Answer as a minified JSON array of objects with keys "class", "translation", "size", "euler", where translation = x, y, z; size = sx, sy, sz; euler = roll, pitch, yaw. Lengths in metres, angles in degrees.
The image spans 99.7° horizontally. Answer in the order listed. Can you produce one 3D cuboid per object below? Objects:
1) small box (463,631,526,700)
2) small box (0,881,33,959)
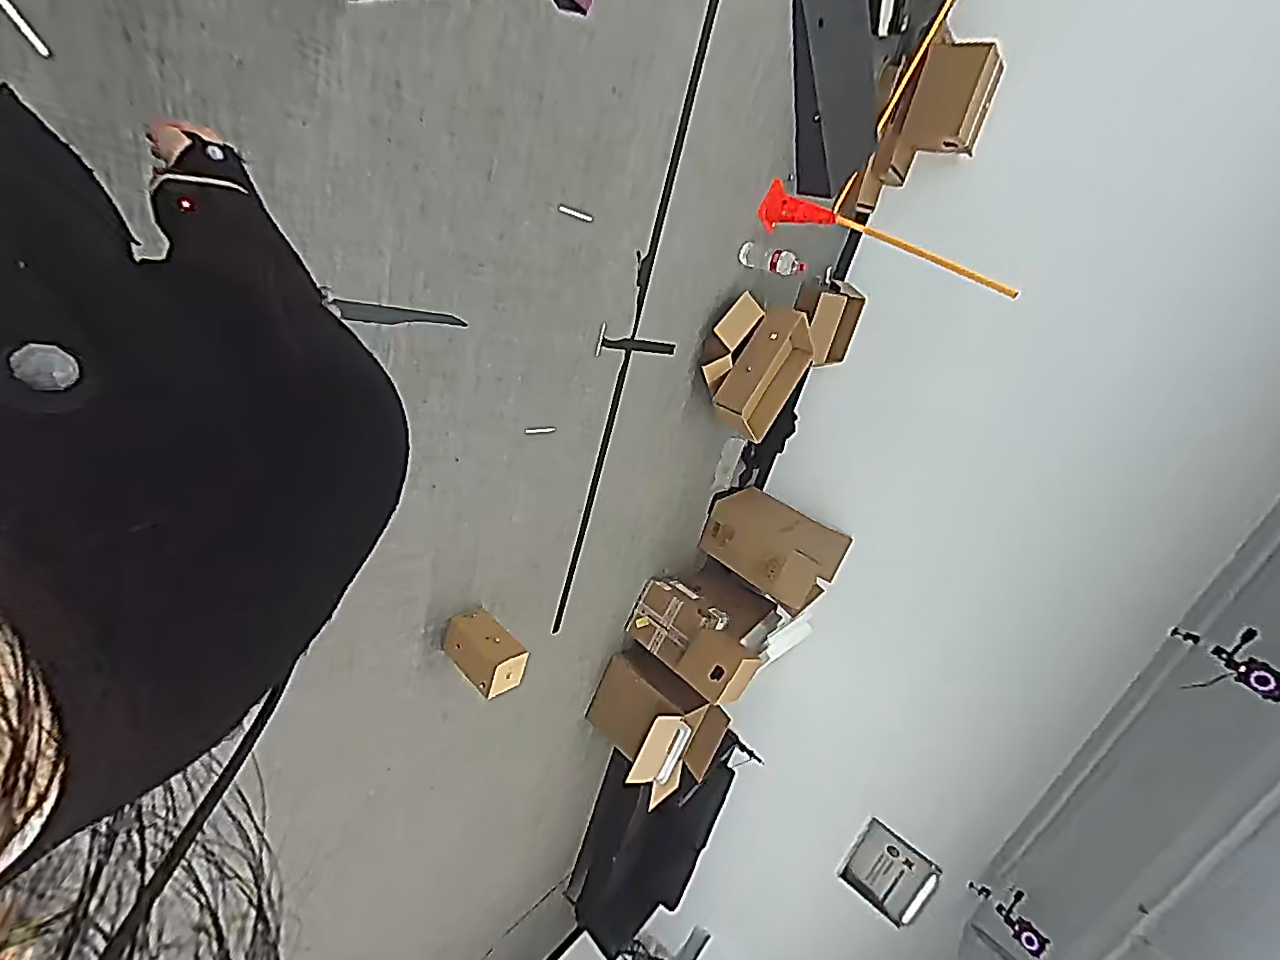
[{"class":"small box","translation":[-0.600,0.752,2.207],"size":[0.168,0.176,0.179],"euler":[-8,121,-54]},{"class":"small box","translation":[-1.658,1.152,1.342],"size":[0.168,0.176,0.179],"euler":[-15,129,-49]}]
